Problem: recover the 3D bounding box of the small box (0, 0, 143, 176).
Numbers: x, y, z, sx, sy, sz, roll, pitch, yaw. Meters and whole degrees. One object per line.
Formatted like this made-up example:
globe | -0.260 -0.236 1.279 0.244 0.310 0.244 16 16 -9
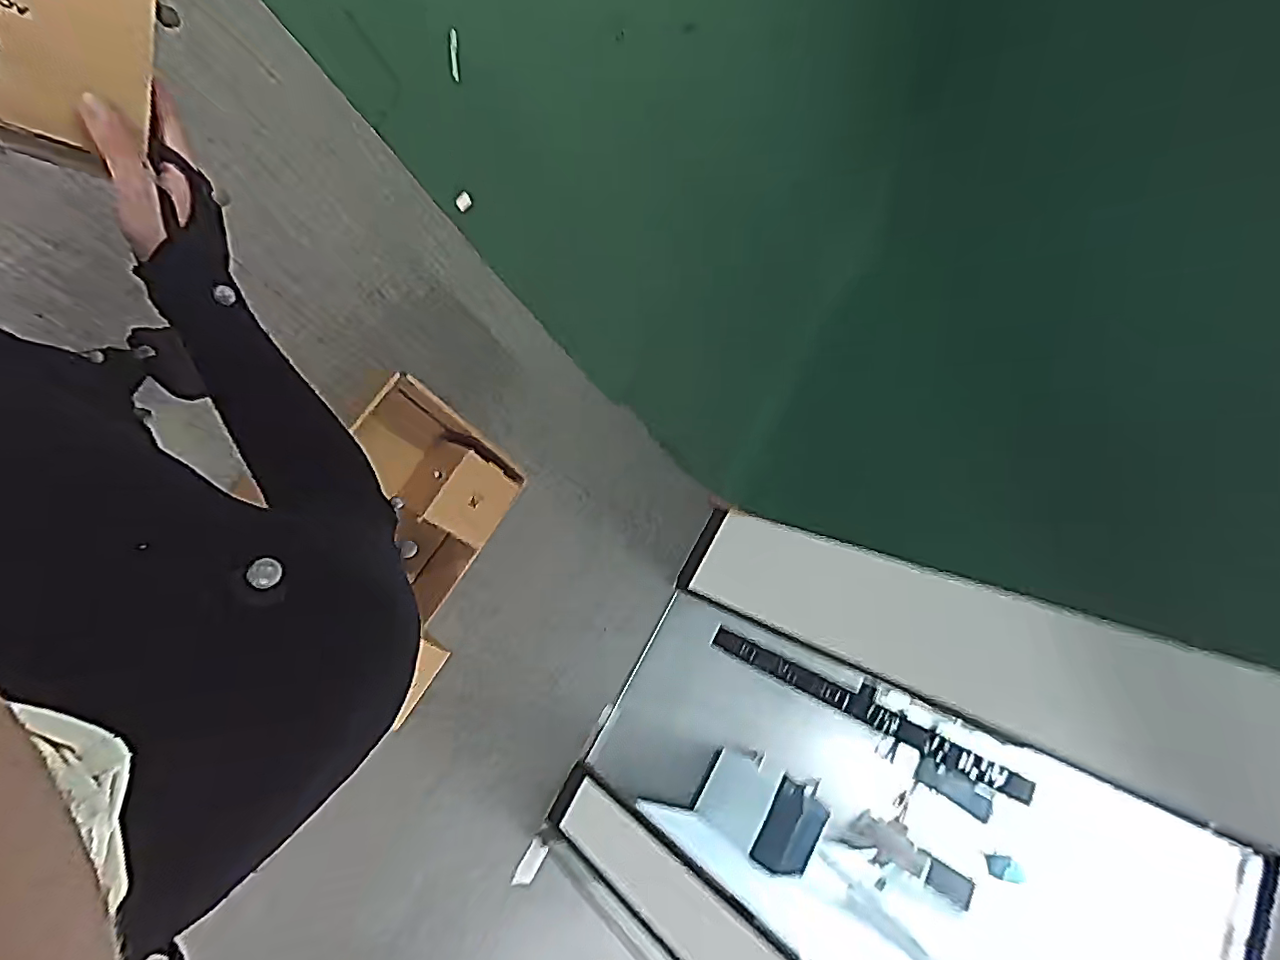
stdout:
small box | -0.486 -0.350 0.396 0.168 0.176 0.179 1 107 -47
